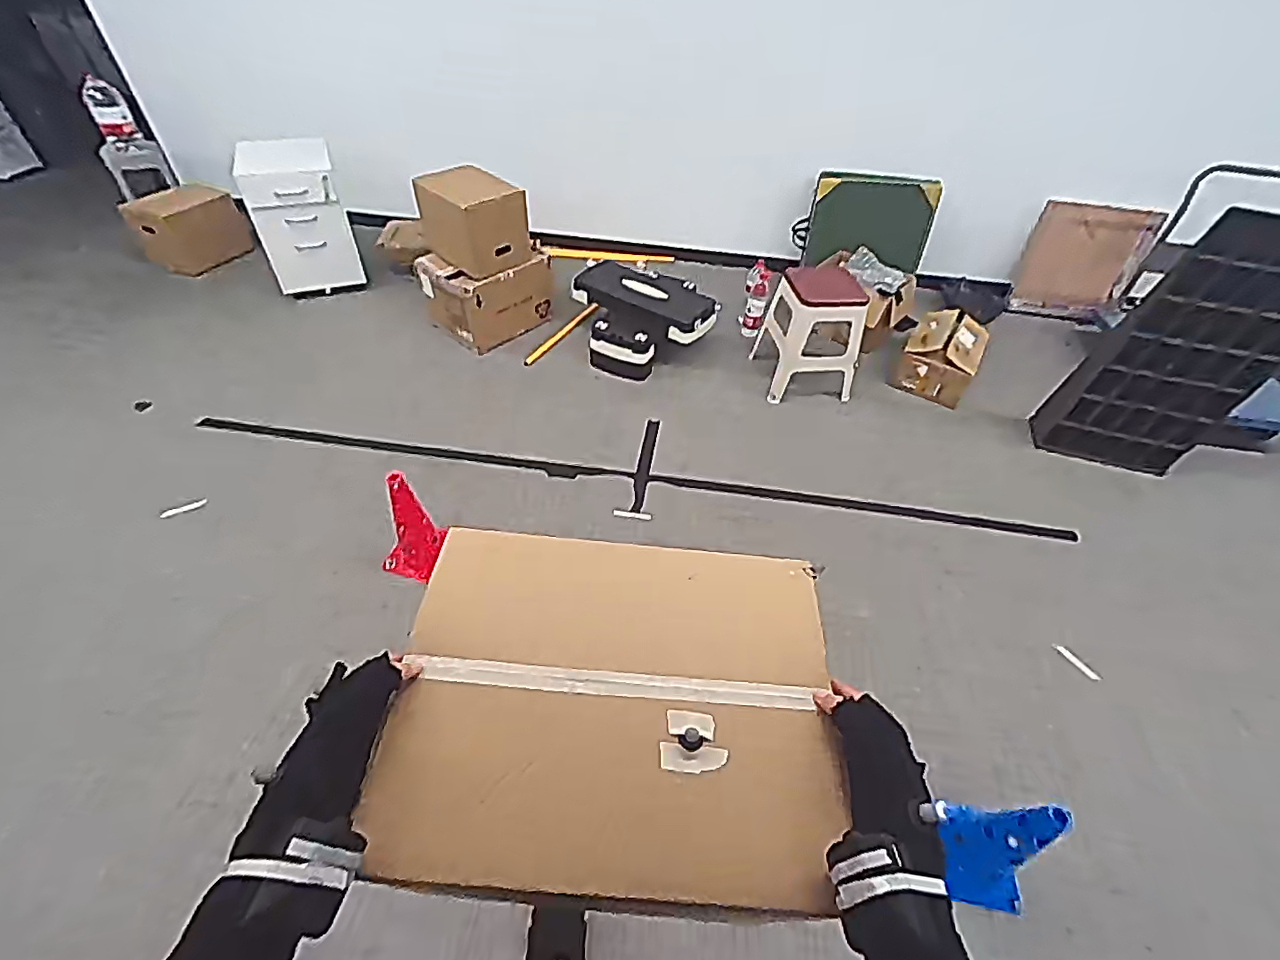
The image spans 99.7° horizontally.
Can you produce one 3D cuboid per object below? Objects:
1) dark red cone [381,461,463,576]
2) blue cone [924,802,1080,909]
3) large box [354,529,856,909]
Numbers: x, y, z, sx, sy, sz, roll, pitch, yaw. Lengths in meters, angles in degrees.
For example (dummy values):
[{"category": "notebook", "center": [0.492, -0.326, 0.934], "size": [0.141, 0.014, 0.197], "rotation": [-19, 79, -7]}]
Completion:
[{"category": "dark red cone", "center": [-0.681, 0.097, 1.612], "size": [0.201, 0.394, 0.202], "rotation": [13, 47, 7]}, {"category": "blue cone", "center": [0.780, 0.758, 1.145], "size": [0.192, 0.380, 0.193], "rotation": [11, 47, 5]}, {"category": "large box", "center": [-0.031, 0.284, 0.627], "size": [0.408, 0.320, 0.320], "rotation": [6, 50, -2]}]
